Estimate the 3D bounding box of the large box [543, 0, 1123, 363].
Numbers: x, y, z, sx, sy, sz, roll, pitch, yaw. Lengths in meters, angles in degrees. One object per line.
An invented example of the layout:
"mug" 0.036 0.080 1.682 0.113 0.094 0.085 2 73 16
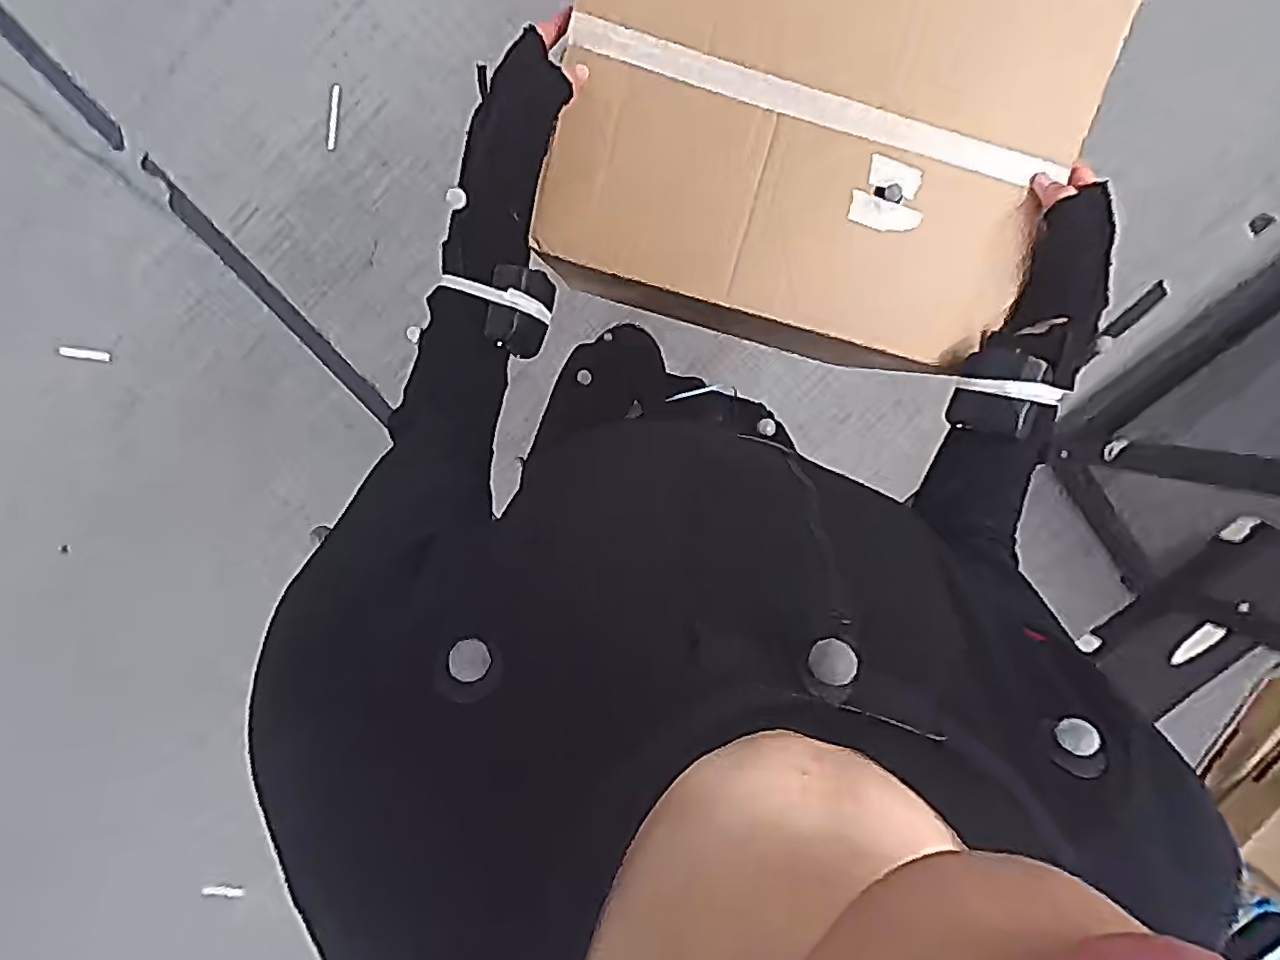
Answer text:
"large box" 0.141 -0.327 0.572 0.408 0.320 0.320 14 104 -5
